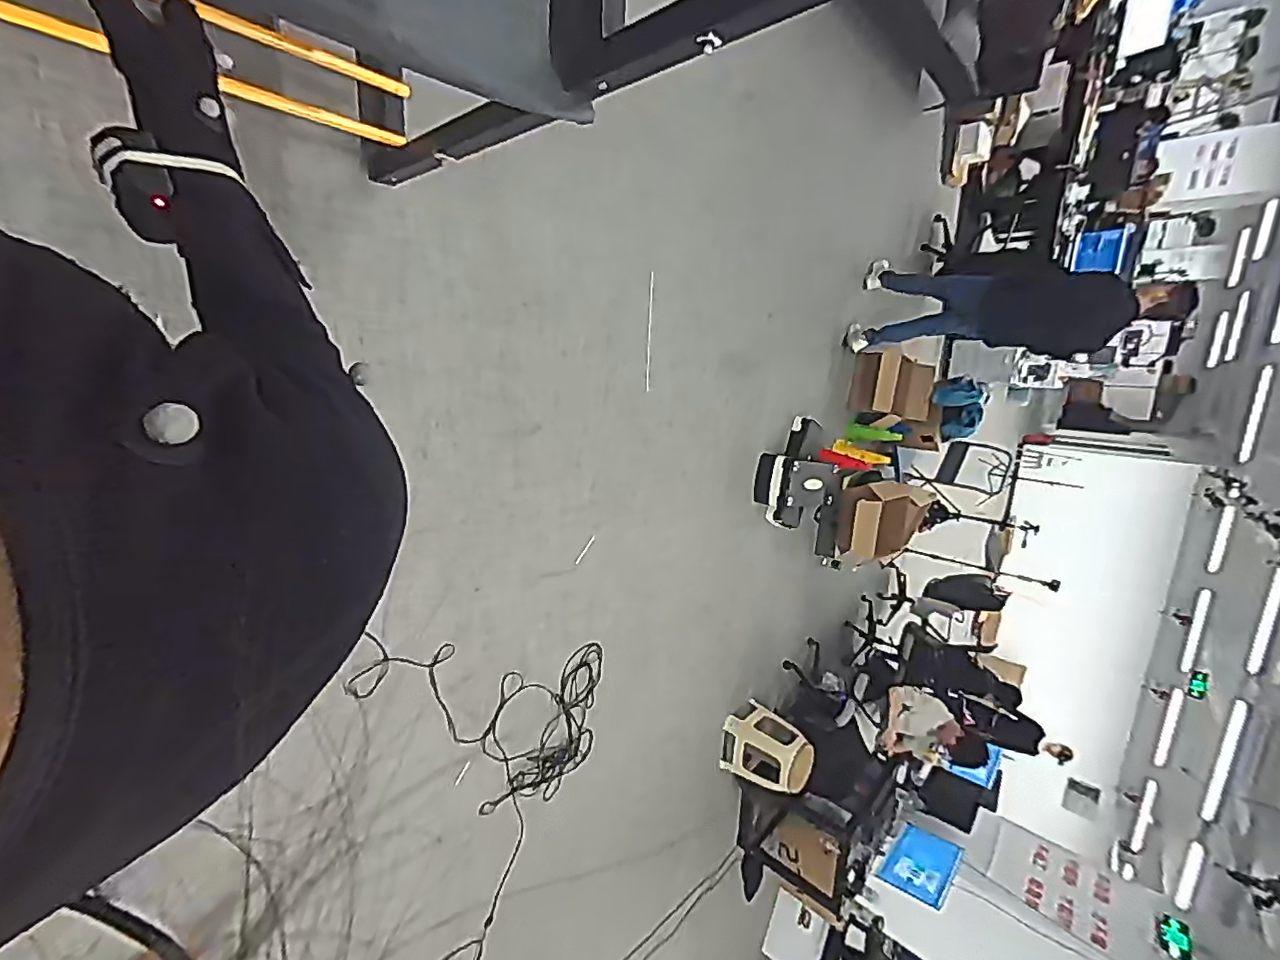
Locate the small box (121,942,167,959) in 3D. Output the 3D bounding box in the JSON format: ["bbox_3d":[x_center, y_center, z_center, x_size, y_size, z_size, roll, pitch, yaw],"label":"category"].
[{"bbox_3d":[-1.155,1.213,1.215,0.168,0.176,0.179,-15,109,-48],"label":"small box"}]
